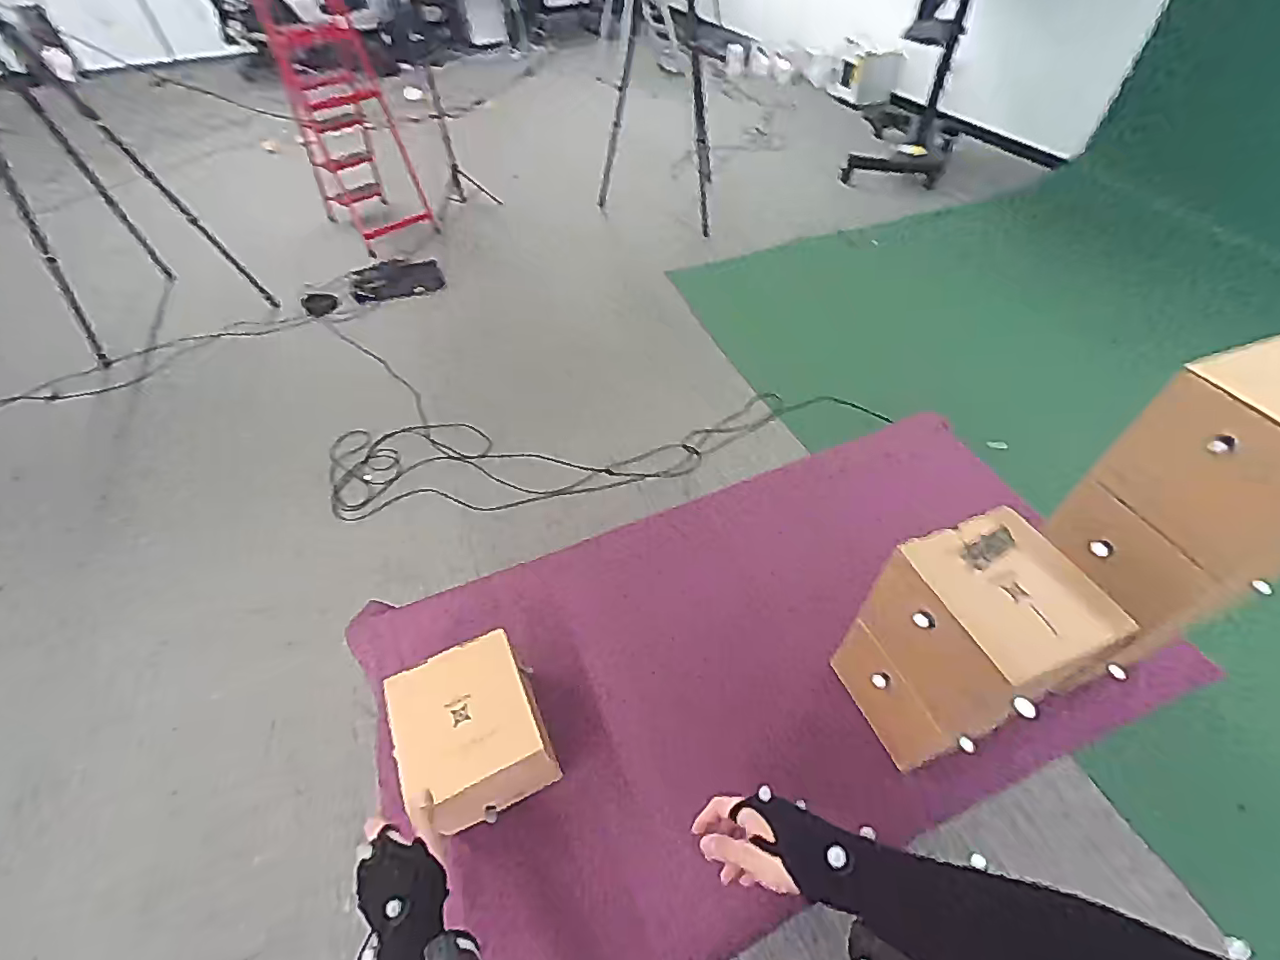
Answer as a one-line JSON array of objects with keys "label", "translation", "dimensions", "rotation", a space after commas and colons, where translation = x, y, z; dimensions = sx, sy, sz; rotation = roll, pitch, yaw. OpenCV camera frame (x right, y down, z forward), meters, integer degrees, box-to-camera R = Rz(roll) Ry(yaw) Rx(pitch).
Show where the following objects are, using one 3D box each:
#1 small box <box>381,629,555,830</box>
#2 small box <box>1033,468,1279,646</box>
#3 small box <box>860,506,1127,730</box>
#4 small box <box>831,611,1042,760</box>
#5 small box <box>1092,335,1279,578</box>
[{"label": "small box", "translation": [-0.229, 0.342, 0.739], "dimensions": [0.168, 0.176, 0.179], "rotation": [-22, 53, -15]}, {"label": "small box", "translation": [0.661, 0.083, 0.703], "dimensions": [0.168, 0.176, 0.179], "rotation": [-17, 50, -10]}, {"label": "small box", "translation": [0.397, 0.166, 0.649], "dimensions": [0.168, 0.176, 0.179], "rotation": [-18, 51, -11]}, {"label": "small box", "translation": [0.403, 0.275, 0.771], "dimensions": [0.168, 0.176, 0.179], "rotation": [-18, 50, -12]}, {"label": "small box", "translation": [0.655, -0.025, 0.578], "dimensions": [0.168, 0.176, 0.179], "rotation": [-16, 51, -9]}]
